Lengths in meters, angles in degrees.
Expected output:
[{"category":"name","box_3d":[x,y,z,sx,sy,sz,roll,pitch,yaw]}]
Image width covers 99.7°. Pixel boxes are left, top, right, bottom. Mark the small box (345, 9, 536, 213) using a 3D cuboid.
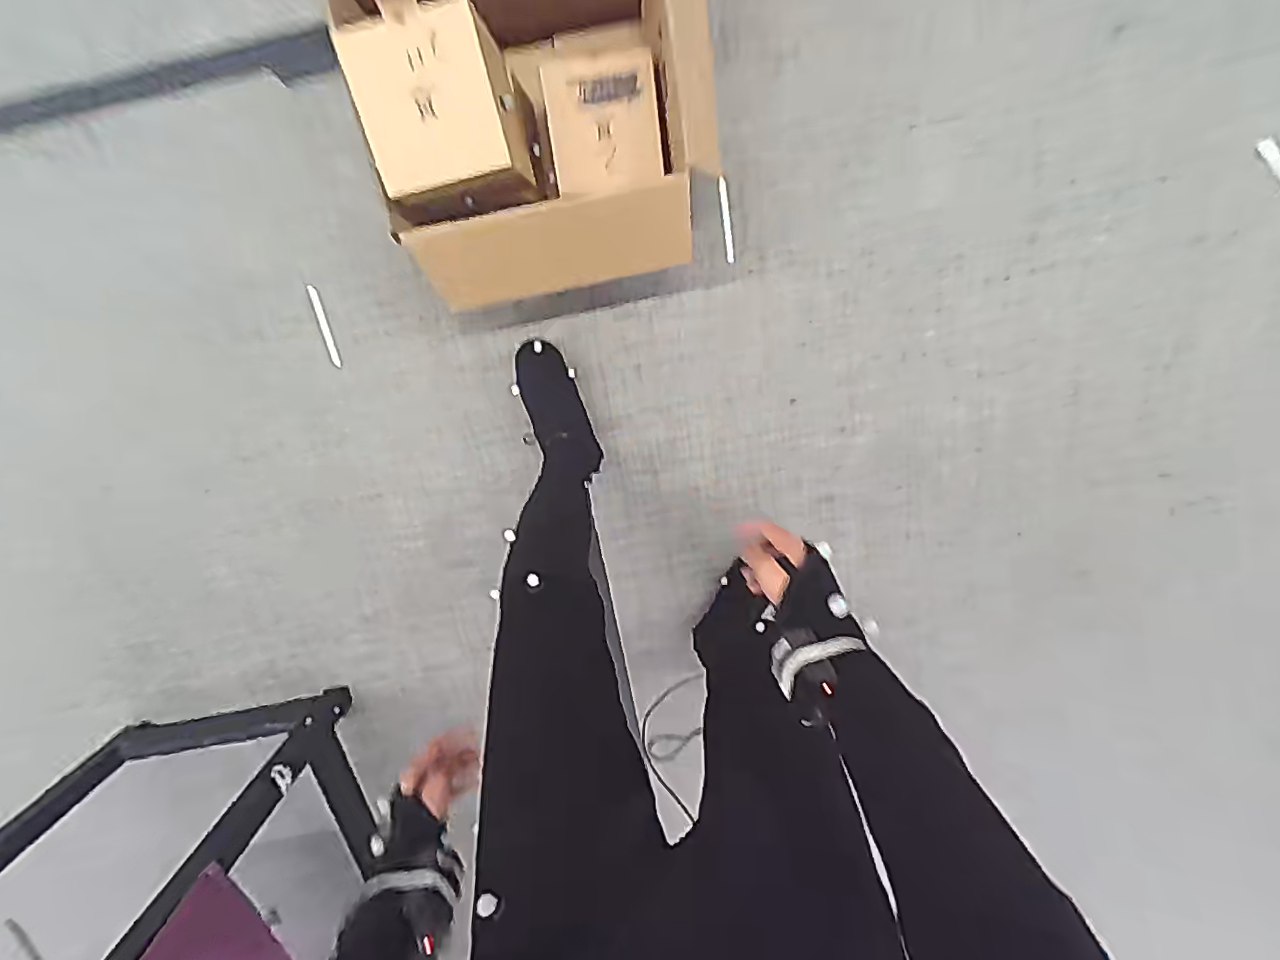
[{"category":"small box","box_3d":[-0.250,-0.474,0.728,0.168,0.176,0.179,-11,107,3]}]
